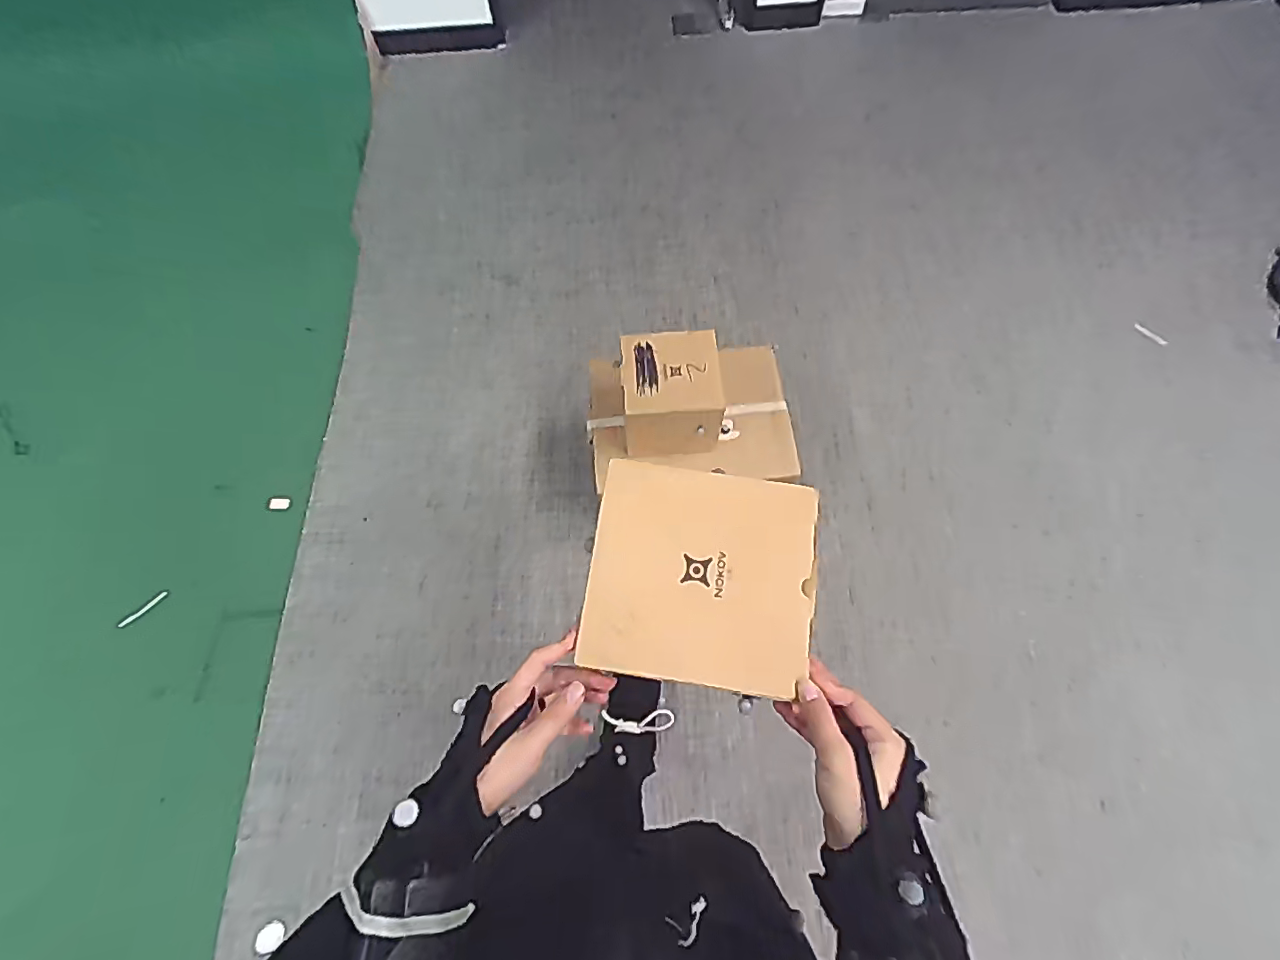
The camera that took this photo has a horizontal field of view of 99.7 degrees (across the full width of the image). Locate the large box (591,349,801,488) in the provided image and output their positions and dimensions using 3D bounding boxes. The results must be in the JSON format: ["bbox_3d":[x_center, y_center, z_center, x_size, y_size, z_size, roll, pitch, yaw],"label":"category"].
[{"bbox_3d":[0.106,-0.070,1.251,0.408,0.320,0.320,-5,68,-2],"label":"large box"}]

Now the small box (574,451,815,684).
[{"bbox_3d":[0.047,0.089,0.499,0.179,0.176,0.168,8,71,1],"label":"small box"}]
